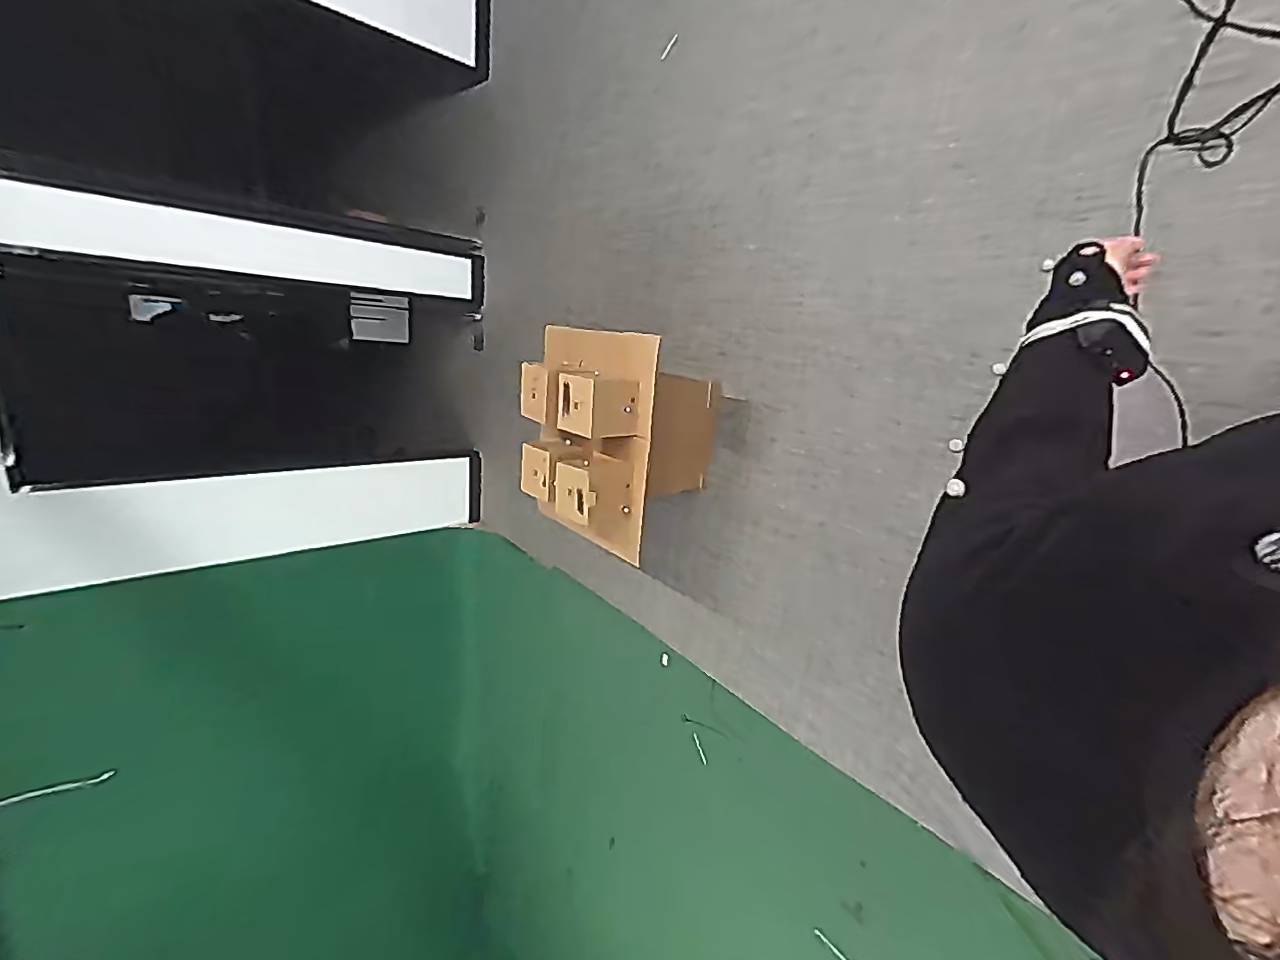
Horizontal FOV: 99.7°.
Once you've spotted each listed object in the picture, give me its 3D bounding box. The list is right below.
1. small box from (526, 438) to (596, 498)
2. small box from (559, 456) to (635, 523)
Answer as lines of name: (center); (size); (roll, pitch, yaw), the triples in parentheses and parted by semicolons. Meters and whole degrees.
small box: (-0.269, -0.046, 1.814); (0.179, 0.176, 0.168); (21, 113, 48)
small box: (-0.131, 0.021, 1.662); (0.179, 0.176, 0.168); (16, 107, 48)
